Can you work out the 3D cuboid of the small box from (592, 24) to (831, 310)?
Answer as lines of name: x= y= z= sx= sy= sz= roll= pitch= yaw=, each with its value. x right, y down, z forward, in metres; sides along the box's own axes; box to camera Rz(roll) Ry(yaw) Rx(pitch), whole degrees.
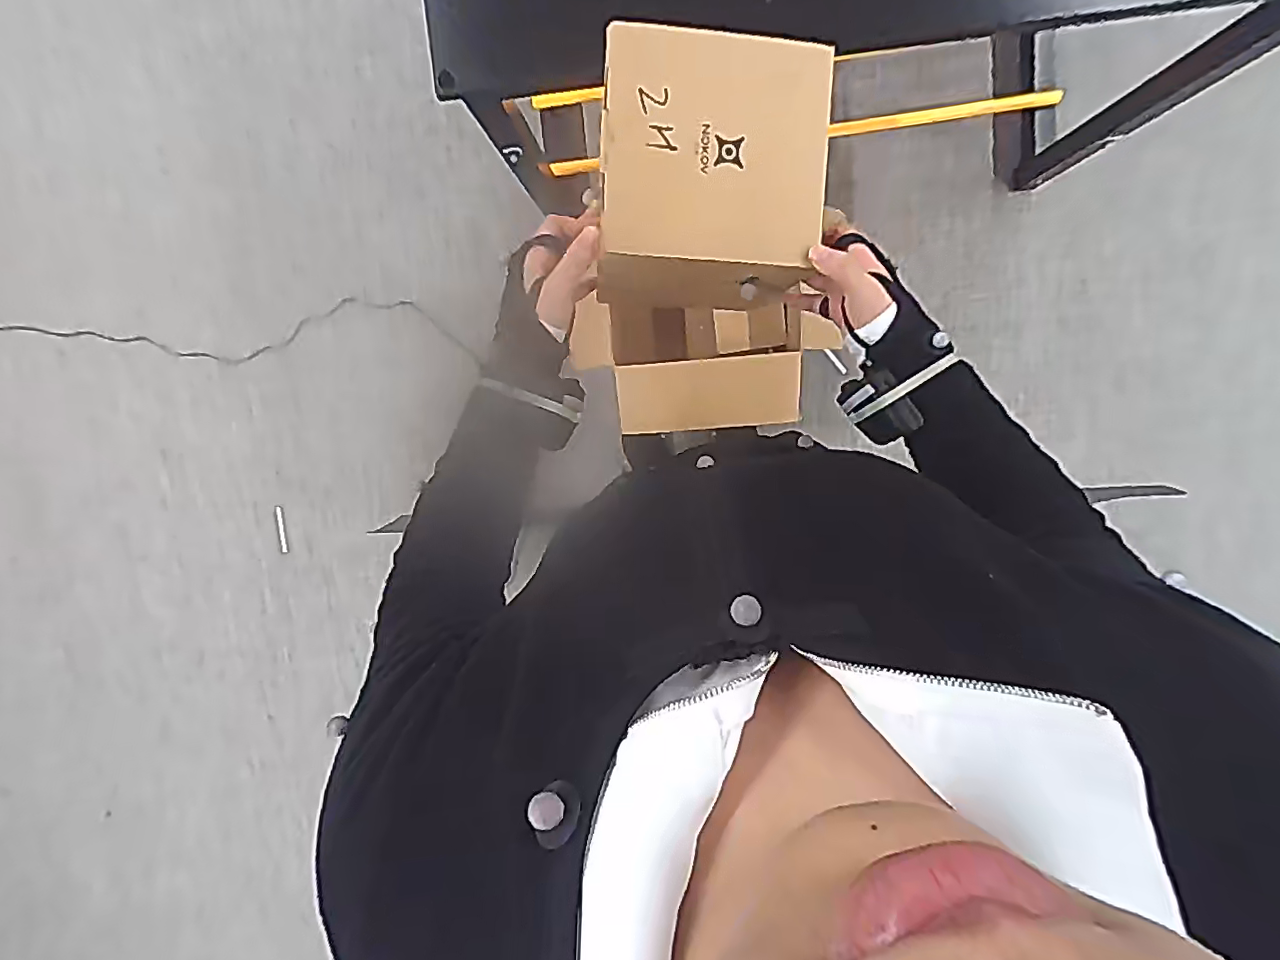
small box: x=0.049 y=-0.258 z=0.493 sx=0.179 sy=0.176 sz=0.168 roll=2 pitch=95 yaw=-6
